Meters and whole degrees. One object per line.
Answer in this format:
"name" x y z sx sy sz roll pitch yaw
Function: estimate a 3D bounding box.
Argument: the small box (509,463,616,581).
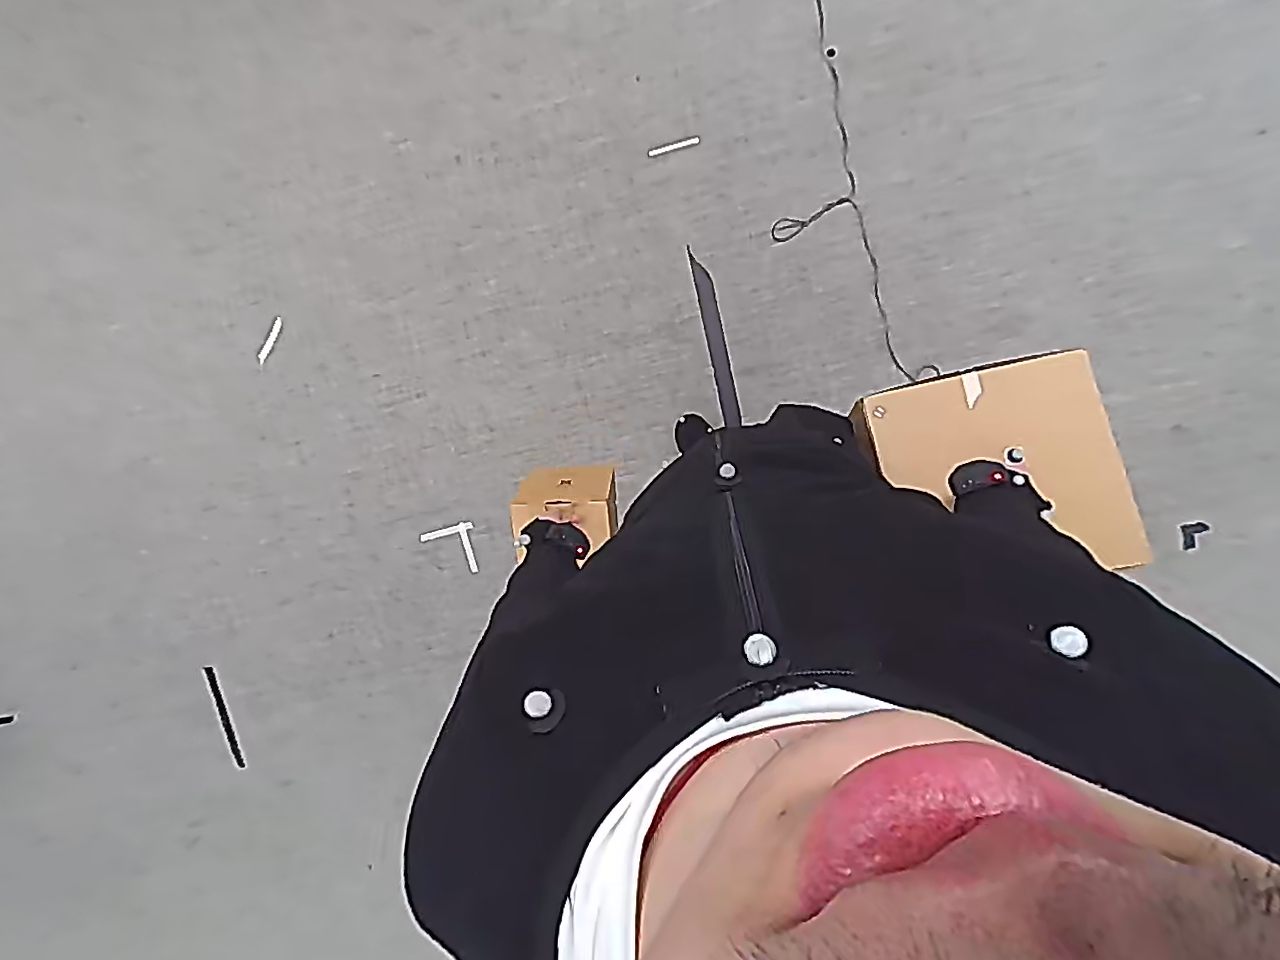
"small box" -0.134 0.078 1.009 0.168 0.179 0.176 -2 112 1
